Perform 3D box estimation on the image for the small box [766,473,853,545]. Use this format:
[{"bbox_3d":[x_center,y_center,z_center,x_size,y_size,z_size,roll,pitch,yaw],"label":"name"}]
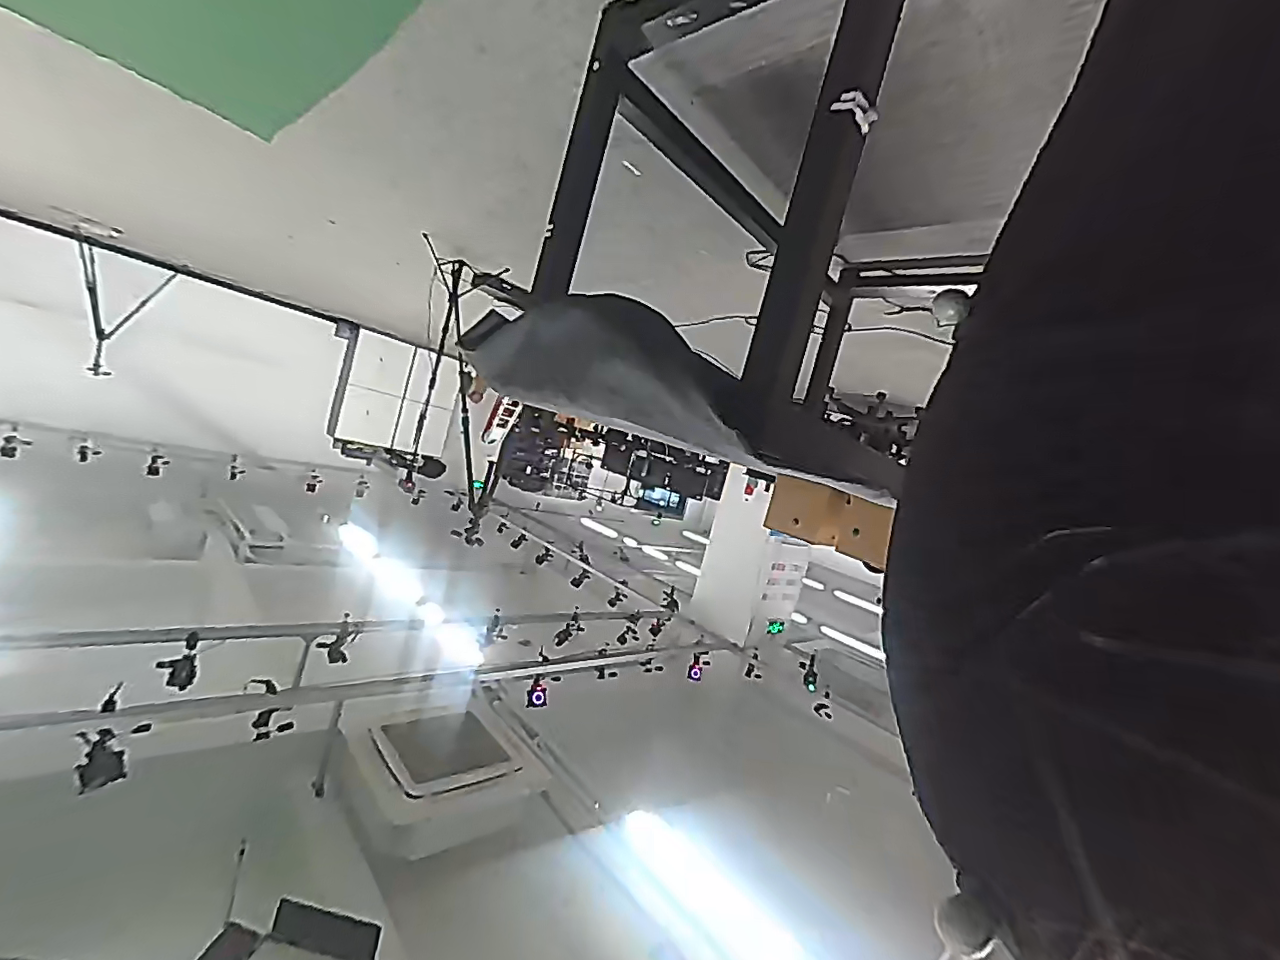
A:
[{"bbox_3d":[0.502,0.083,1.581,0.168,0.176,0.179,13,-175,-45],"label":"small box"}]
